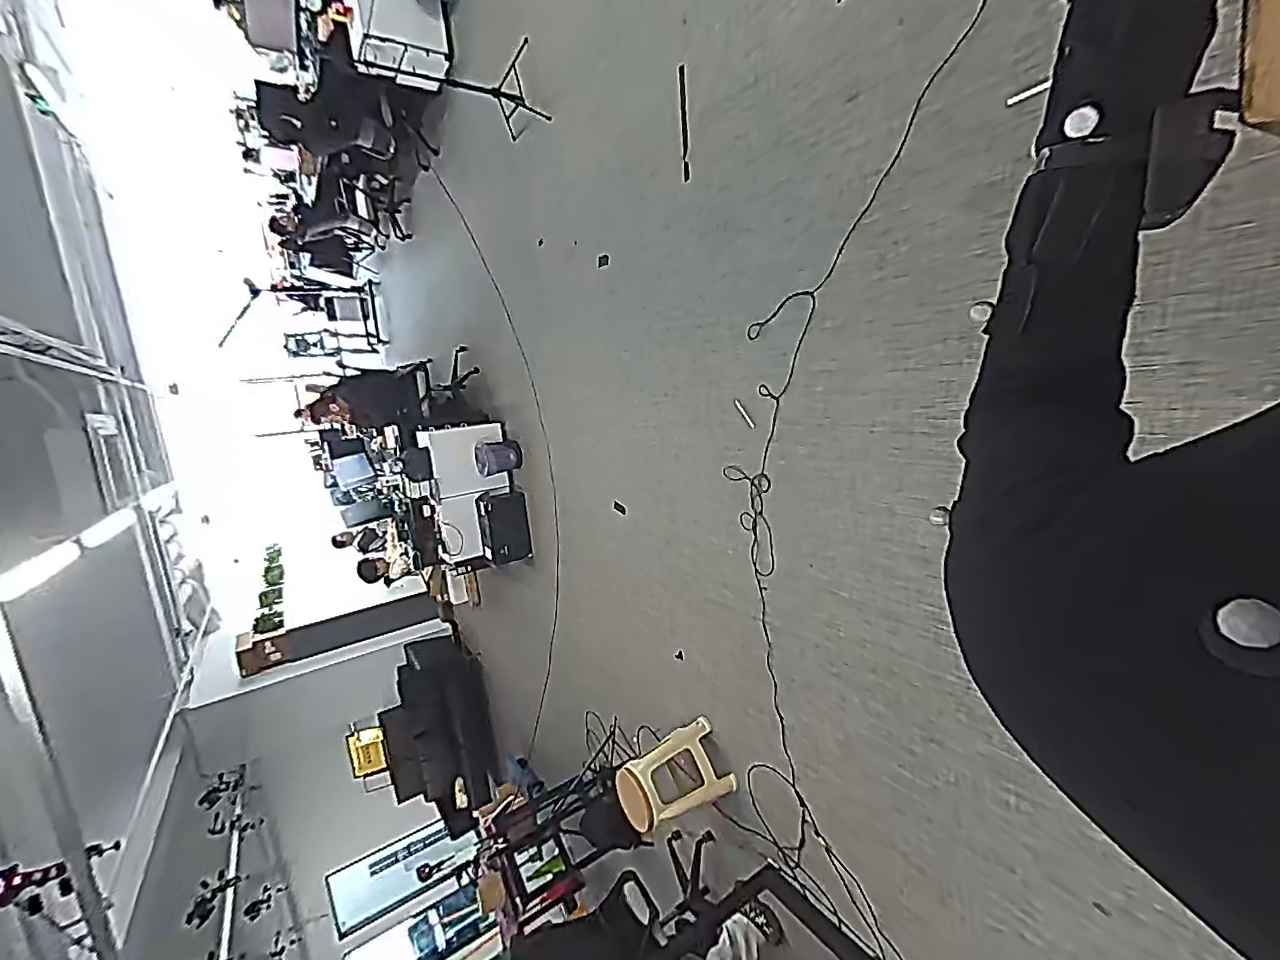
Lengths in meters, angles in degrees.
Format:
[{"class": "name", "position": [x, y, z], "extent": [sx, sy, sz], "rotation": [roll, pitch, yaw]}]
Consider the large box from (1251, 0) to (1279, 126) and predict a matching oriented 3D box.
[{"class": "large box", "position": [0.543, -0.373, 0.190], "extent": [0.408, 0.320, 0.320], "rotation": [8, 114, 54]}]
